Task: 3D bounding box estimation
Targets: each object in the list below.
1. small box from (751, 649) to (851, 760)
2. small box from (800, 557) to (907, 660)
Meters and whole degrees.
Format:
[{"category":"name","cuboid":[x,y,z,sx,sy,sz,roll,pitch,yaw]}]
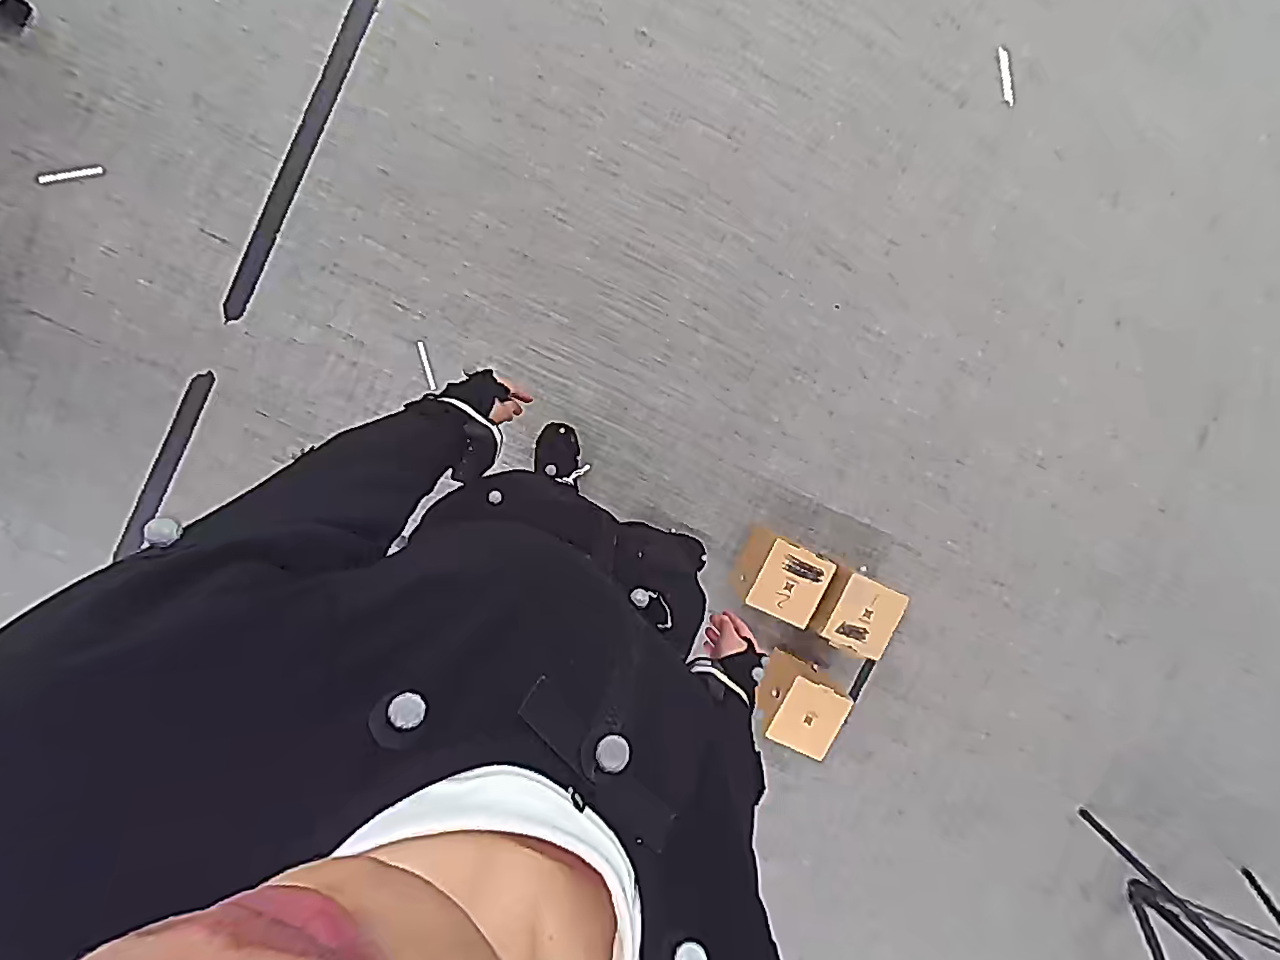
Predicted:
[{"category":"small box","cuboid":[0.407,0.575,1.406,0.168,0.176,0.179,27,93,-6]},{"category":"small box","cuboid":[0.534,0.321,1.385,0.168,0.176,0.179,26,93,-6]}]
